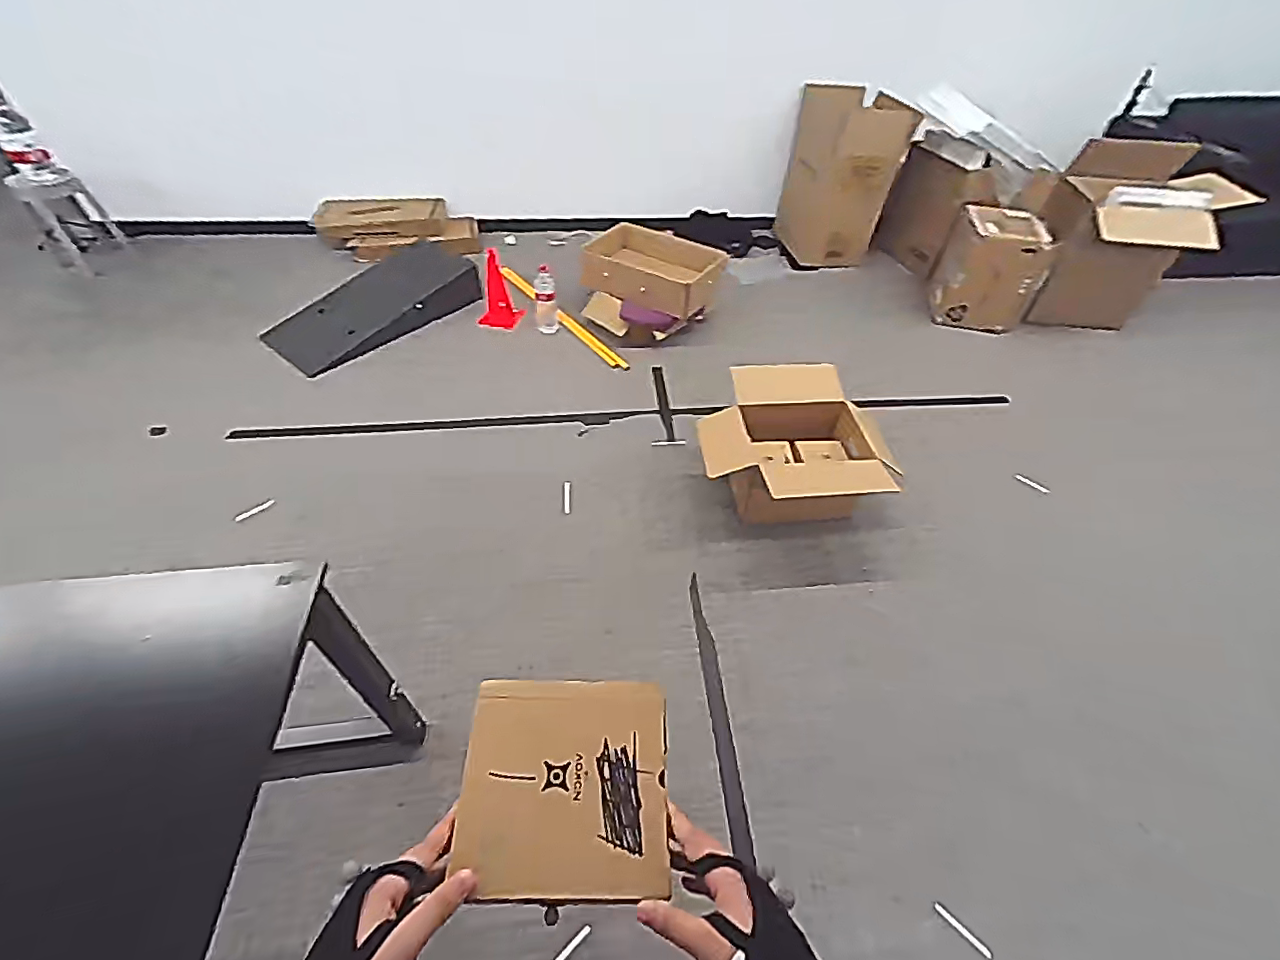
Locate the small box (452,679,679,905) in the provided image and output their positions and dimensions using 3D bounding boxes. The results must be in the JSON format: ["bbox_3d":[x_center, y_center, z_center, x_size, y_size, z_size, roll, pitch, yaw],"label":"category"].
[{"bbox_3d":[-0.060,0.305,0.525,0.179,0.176,0.168,2,51,-2],"label":"small box"}]
